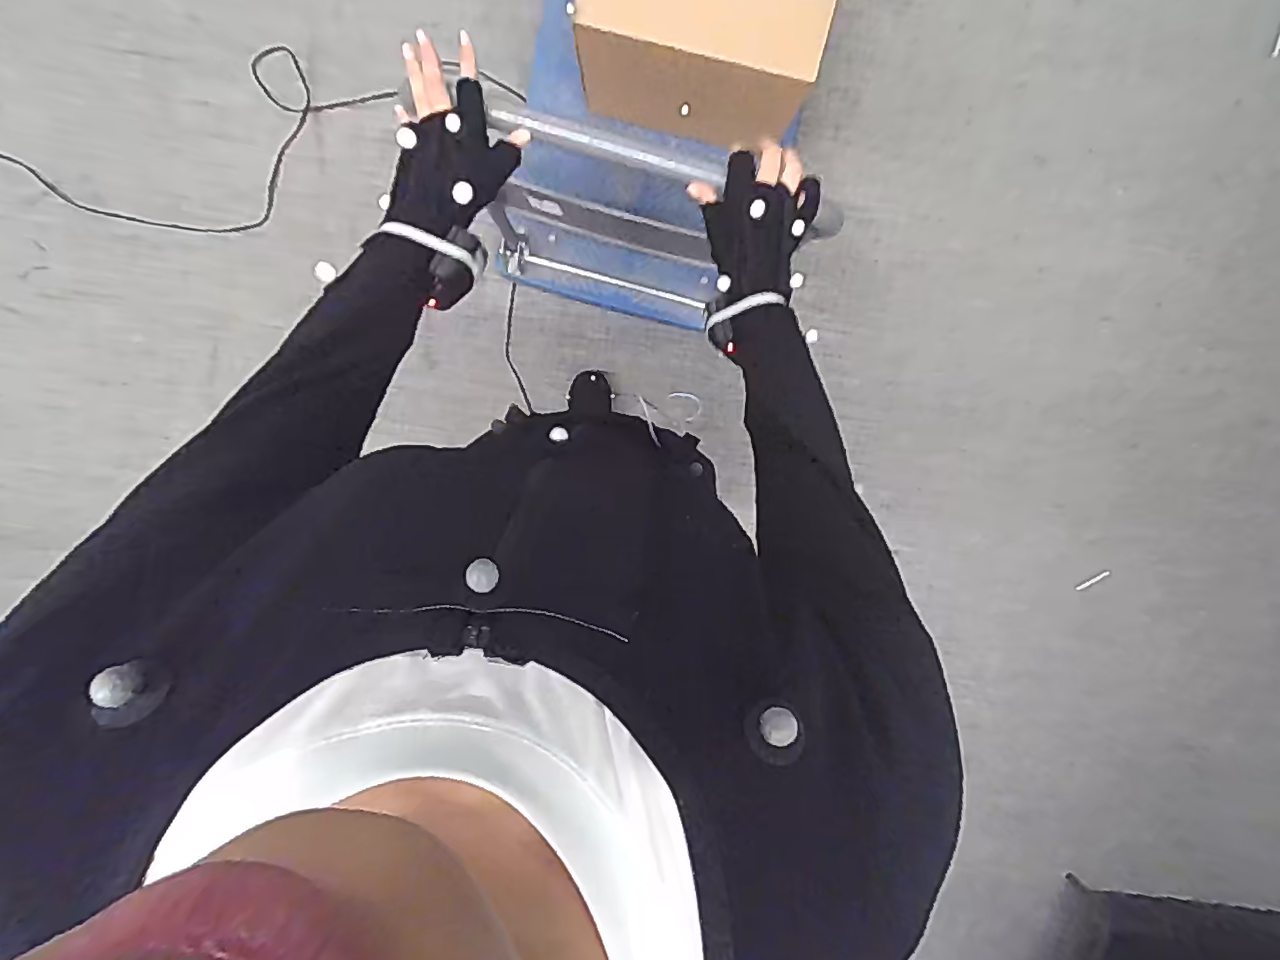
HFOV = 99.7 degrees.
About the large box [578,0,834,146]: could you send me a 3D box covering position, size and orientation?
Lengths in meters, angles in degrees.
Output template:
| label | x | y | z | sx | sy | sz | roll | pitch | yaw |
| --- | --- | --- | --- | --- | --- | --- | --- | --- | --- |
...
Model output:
| label | x | y | z | sx | sy | sz | roll | pitch | yaw |
| --- | --- | --- | --- | --- | --- | --- | --- | --- | --- |
| large box | 0.125 | -0.873 | 0.990 | 0.408 | 0.320 | 0.320 | 12 | 100 | -3 |
